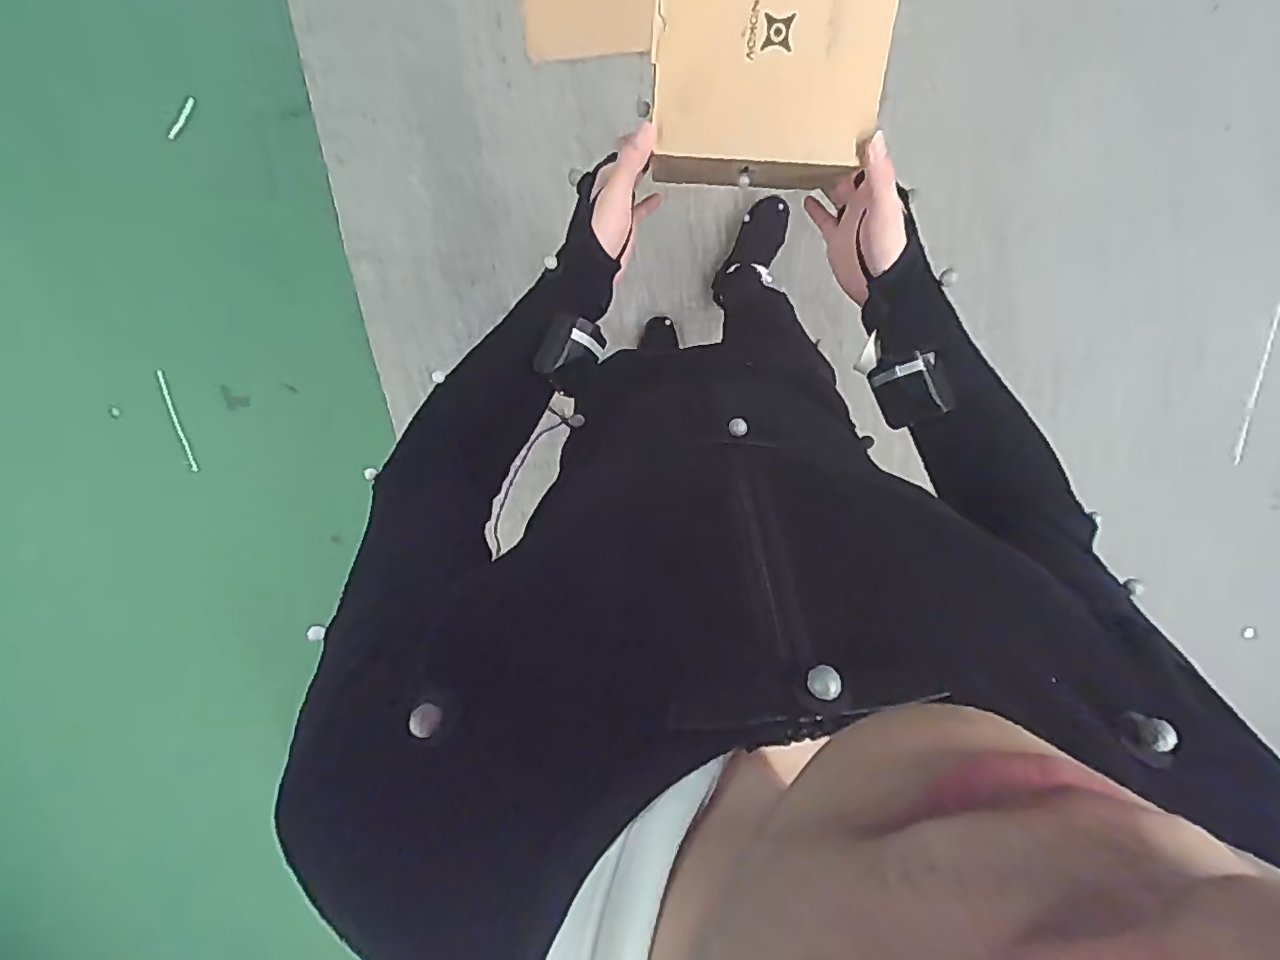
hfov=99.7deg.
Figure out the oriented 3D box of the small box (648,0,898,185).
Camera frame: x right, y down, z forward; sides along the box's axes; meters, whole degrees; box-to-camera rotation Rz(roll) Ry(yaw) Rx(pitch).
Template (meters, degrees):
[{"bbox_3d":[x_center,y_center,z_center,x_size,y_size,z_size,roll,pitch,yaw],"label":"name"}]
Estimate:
[{"bbox_3d":[0.102,-0.362,0.471,0.179,0.176,0.168,4,112,1],"label":"small box"}]
